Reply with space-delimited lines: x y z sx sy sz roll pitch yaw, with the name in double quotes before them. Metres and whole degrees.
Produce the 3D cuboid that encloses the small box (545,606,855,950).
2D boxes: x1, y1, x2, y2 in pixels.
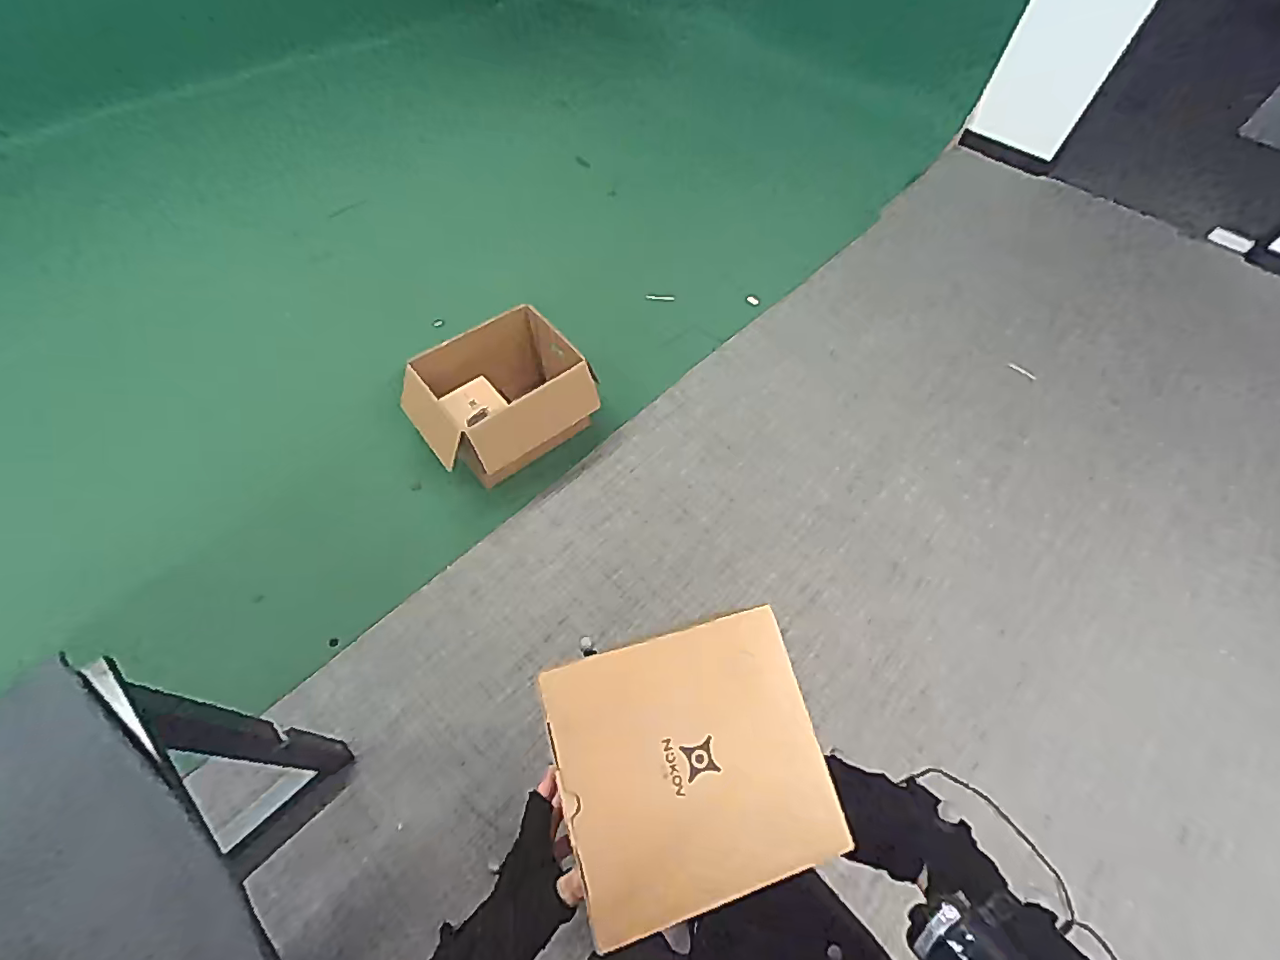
"small box" 0.028 0.205 0.430 0.179 0.176 0.168 -14 75 -11
